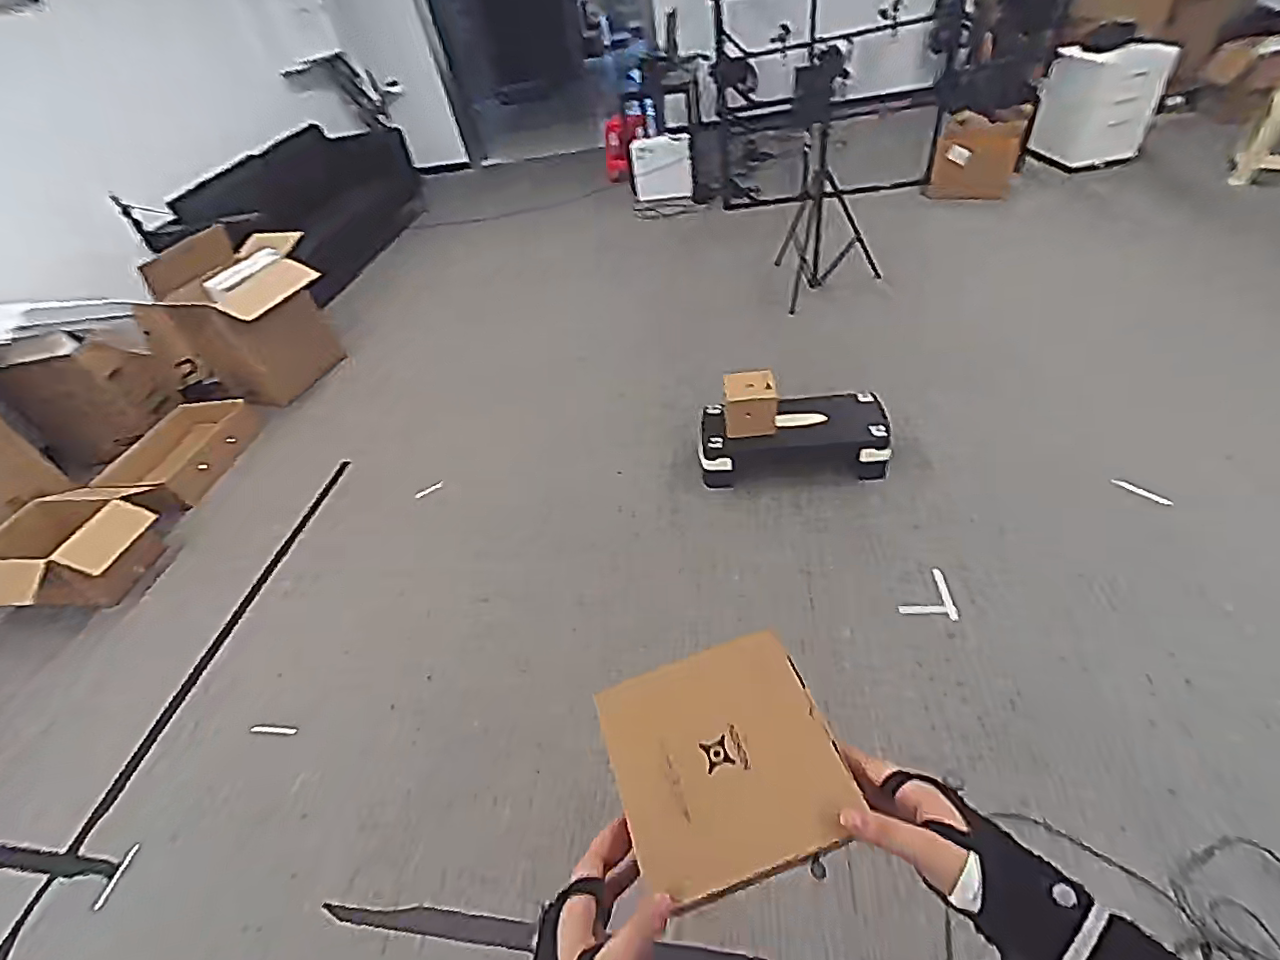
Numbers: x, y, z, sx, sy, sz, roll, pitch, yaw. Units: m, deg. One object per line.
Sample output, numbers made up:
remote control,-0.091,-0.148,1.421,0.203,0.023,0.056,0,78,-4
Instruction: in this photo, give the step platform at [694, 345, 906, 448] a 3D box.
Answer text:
step platform,0.537,-0.285,1.897,0.684,0.204,0.286,-3,44,9

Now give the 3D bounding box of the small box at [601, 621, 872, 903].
small box,0.080,0.264,0.504,0.179,0.176,0.168,-20,50,-5

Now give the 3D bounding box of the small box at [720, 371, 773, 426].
small box,0.389,-0.275,1.972,0.179,0.176,0.168,-5,45,8
